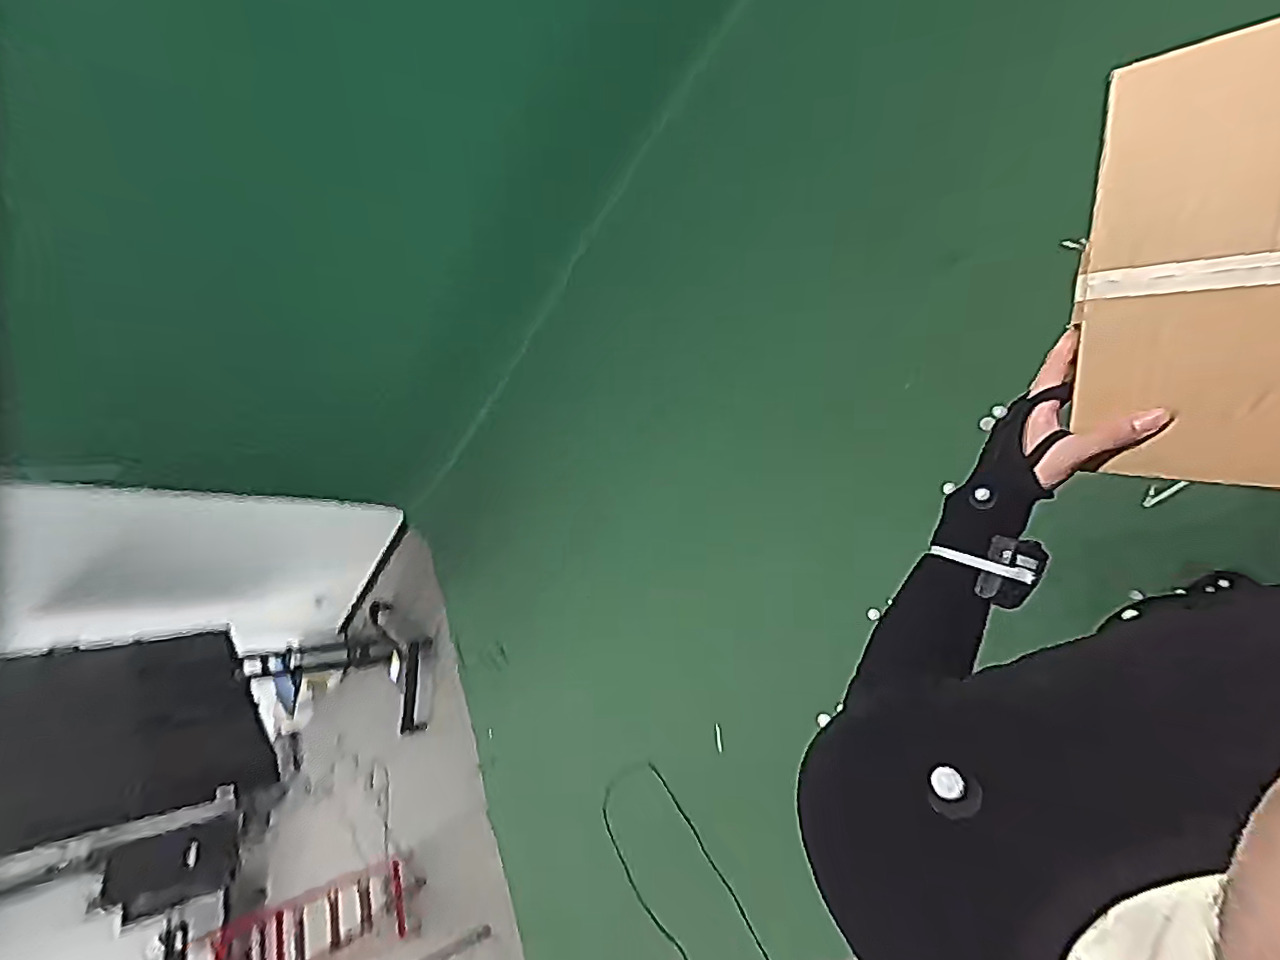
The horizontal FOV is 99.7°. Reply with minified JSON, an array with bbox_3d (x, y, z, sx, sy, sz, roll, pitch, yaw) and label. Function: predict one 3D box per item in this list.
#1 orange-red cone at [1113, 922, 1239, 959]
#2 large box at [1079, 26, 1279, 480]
[{"bbox_3d":[1.011,1.012,0.995,0.199,0.360,0.198,-41,56,36],"label":"orange-red cone"},{"bbox_3d":[0.625,-0.166,0.413,0.408,0.320,0.320,10,108,45],"label":"large box"}]
